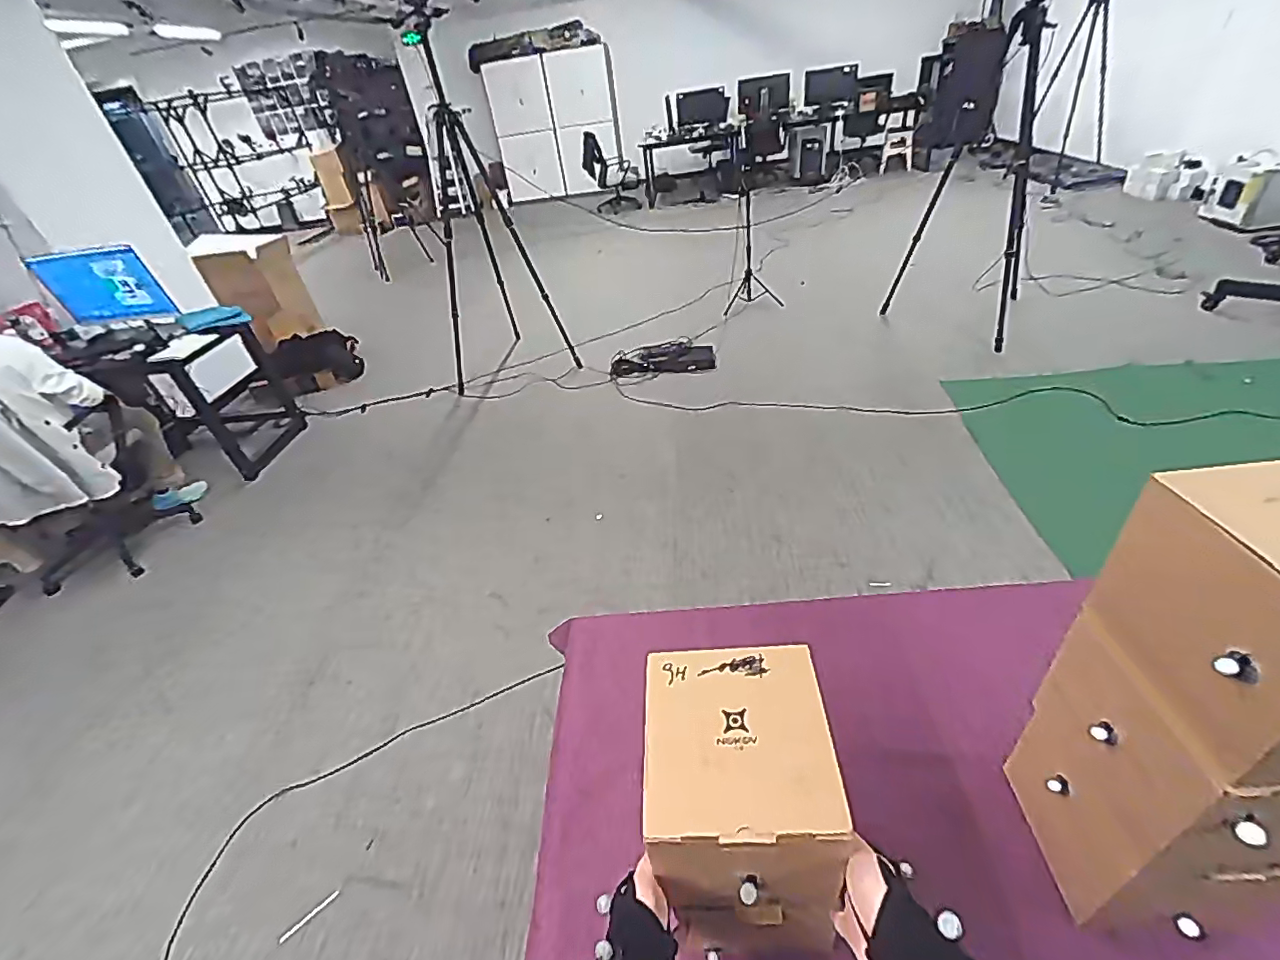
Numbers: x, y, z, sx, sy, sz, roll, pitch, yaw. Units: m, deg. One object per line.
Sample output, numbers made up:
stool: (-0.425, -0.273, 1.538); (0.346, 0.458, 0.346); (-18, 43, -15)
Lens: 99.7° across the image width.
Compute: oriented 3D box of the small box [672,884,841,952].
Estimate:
small box: (0.125, 0.422, 0.631); (0.168, 0.176, 0.179); (-6, 36, 5)

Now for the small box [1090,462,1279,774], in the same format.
small box: (0.505, 0.103, 0.411); (0.168, 0.176, 0.179); (-6, 36, 5)

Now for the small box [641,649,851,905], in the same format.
small box: (0.097, 0.293, 0.531); (0.168, 0.176, 0.179); (-6, 38, 7)

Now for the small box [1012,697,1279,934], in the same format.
small box: (0.554, 0.367, 0.600); (0.168, 0.176, 0.179); (-5, 37, 8)
